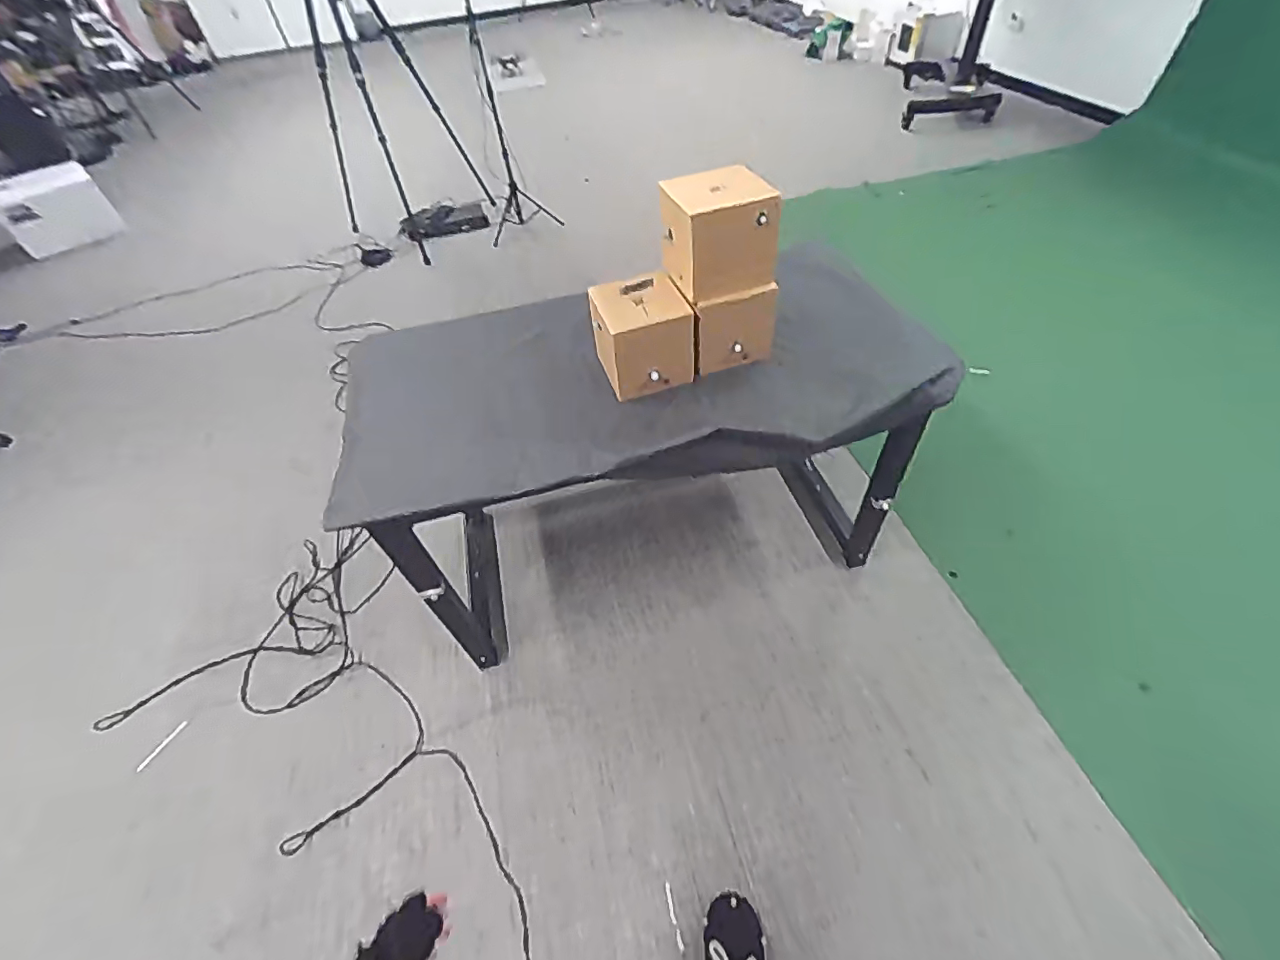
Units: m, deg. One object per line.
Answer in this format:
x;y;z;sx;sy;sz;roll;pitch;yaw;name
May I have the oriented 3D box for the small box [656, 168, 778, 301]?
0.142;-0.464;1.032;0.179;0.176;0.168;-17;49;-9;small box
